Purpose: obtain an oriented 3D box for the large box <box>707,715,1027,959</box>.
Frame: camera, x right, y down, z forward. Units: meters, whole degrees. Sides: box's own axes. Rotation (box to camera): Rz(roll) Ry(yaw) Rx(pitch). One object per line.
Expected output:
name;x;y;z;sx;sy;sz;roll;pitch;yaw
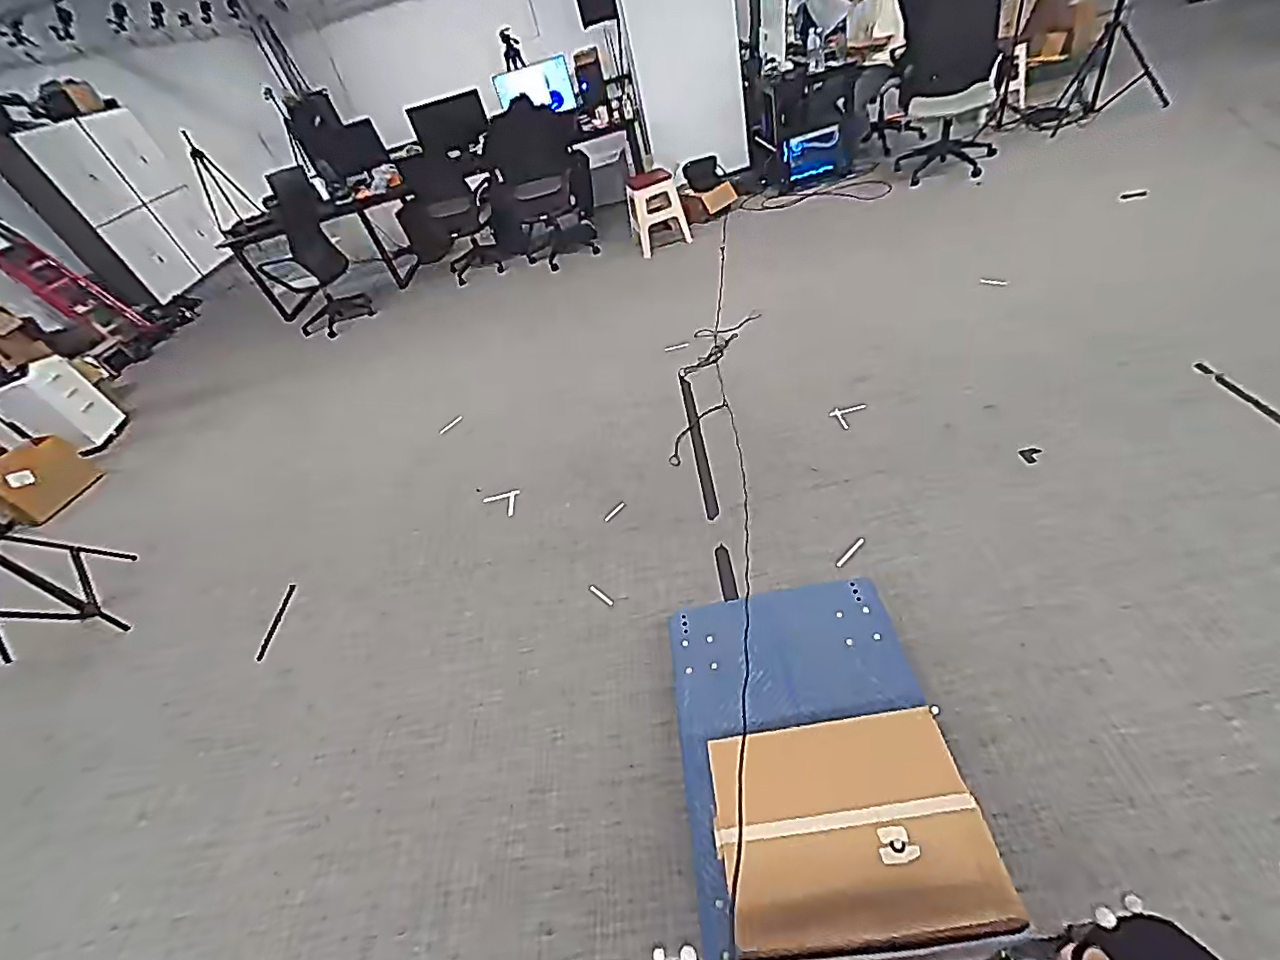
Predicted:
large box;0.357;0.665;0.957;0.408;0.320;0.320;-12;42;6
